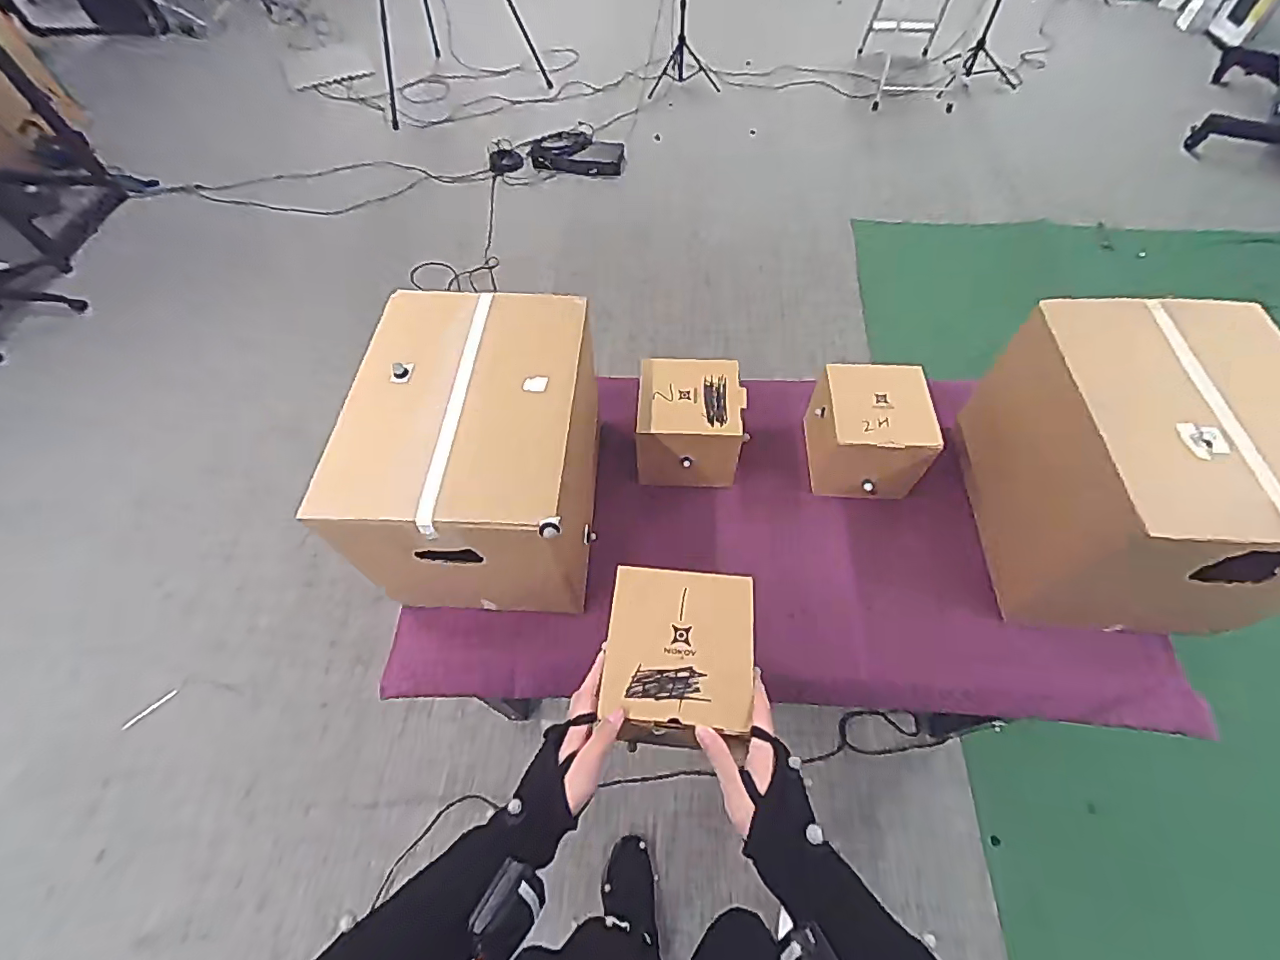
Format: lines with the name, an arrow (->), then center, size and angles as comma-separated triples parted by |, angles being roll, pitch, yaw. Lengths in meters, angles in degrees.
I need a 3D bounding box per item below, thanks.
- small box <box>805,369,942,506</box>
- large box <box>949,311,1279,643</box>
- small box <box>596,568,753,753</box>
small box -> 0.398, -0.074, 0.960 | 0.168, 0.176, 0.179 | 3, 58, 3
large box -> 0.736, 0.000, 0.824 | 0.320, 0.320, 0.408 | 2, 58, 5
small box -> 0.047, 0.228, 0.670 | 0.168, 0.176, 0.179 | 4, 56, 5
